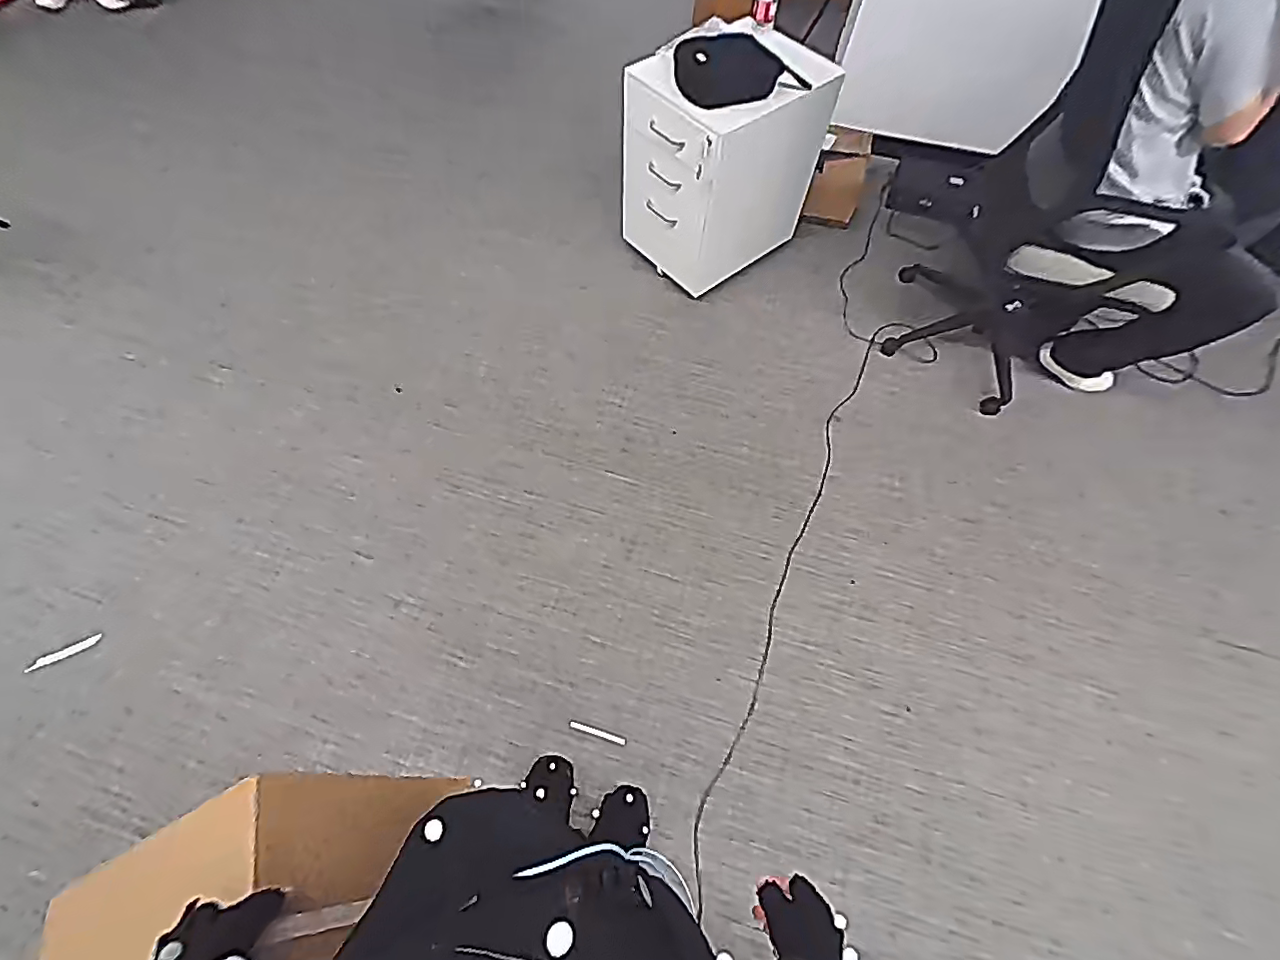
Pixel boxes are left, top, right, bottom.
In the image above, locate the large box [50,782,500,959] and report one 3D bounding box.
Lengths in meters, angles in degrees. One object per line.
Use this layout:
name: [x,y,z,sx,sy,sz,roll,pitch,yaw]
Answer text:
large box: [-0.441,0.627,0.708,0.320,0.408,0.320,-28,54,5]
